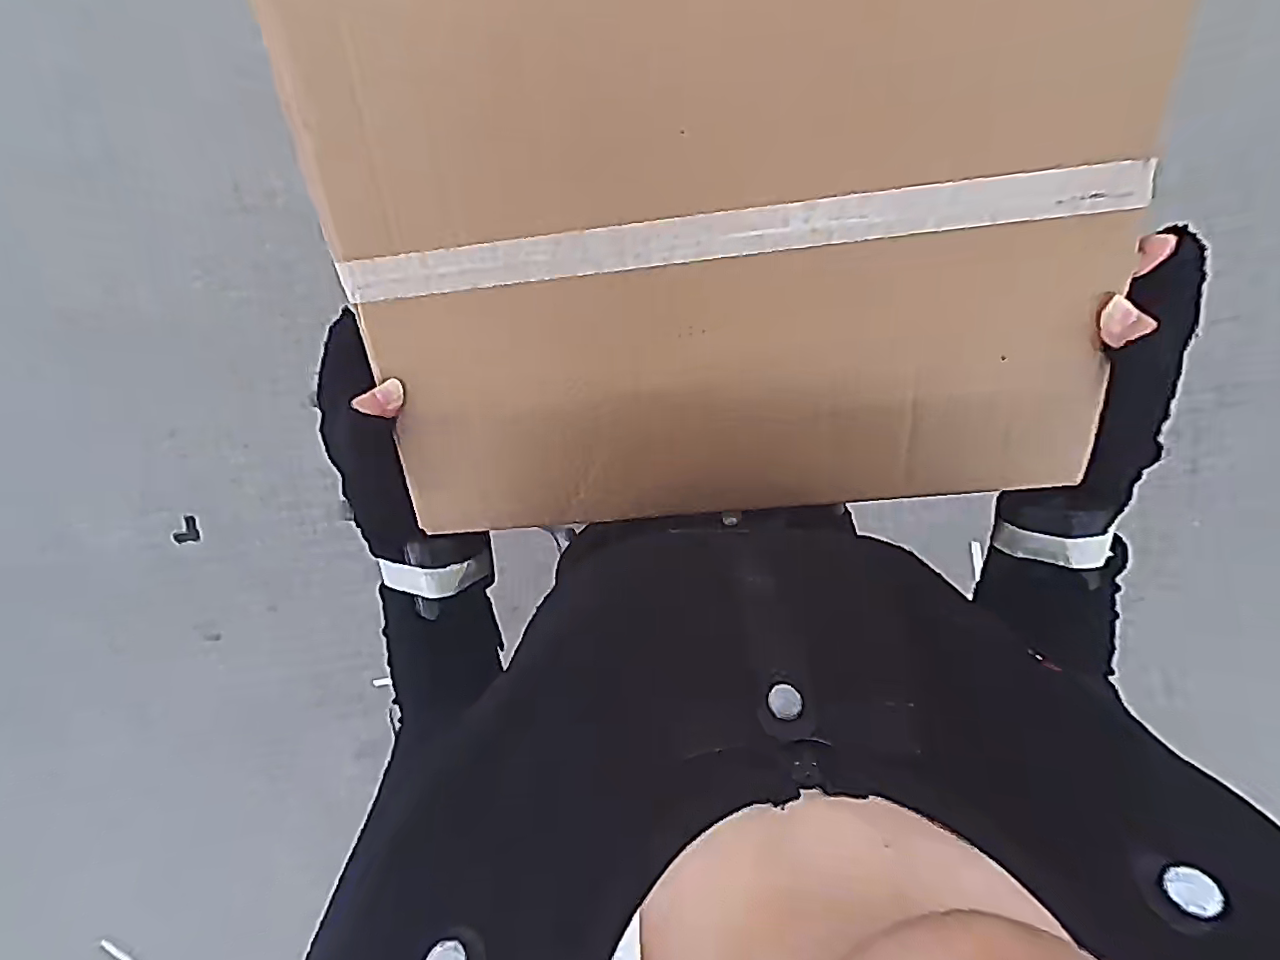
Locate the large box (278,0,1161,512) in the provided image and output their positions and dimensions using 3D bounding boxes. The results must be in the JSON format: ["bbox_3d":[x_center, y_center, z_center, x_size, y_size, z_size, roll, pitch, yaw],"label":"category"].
[{"bbox_3d":[0.045,-0.196,0.419,0.408,0.320,0.320,-5,114,5],"label":"large box"}]
